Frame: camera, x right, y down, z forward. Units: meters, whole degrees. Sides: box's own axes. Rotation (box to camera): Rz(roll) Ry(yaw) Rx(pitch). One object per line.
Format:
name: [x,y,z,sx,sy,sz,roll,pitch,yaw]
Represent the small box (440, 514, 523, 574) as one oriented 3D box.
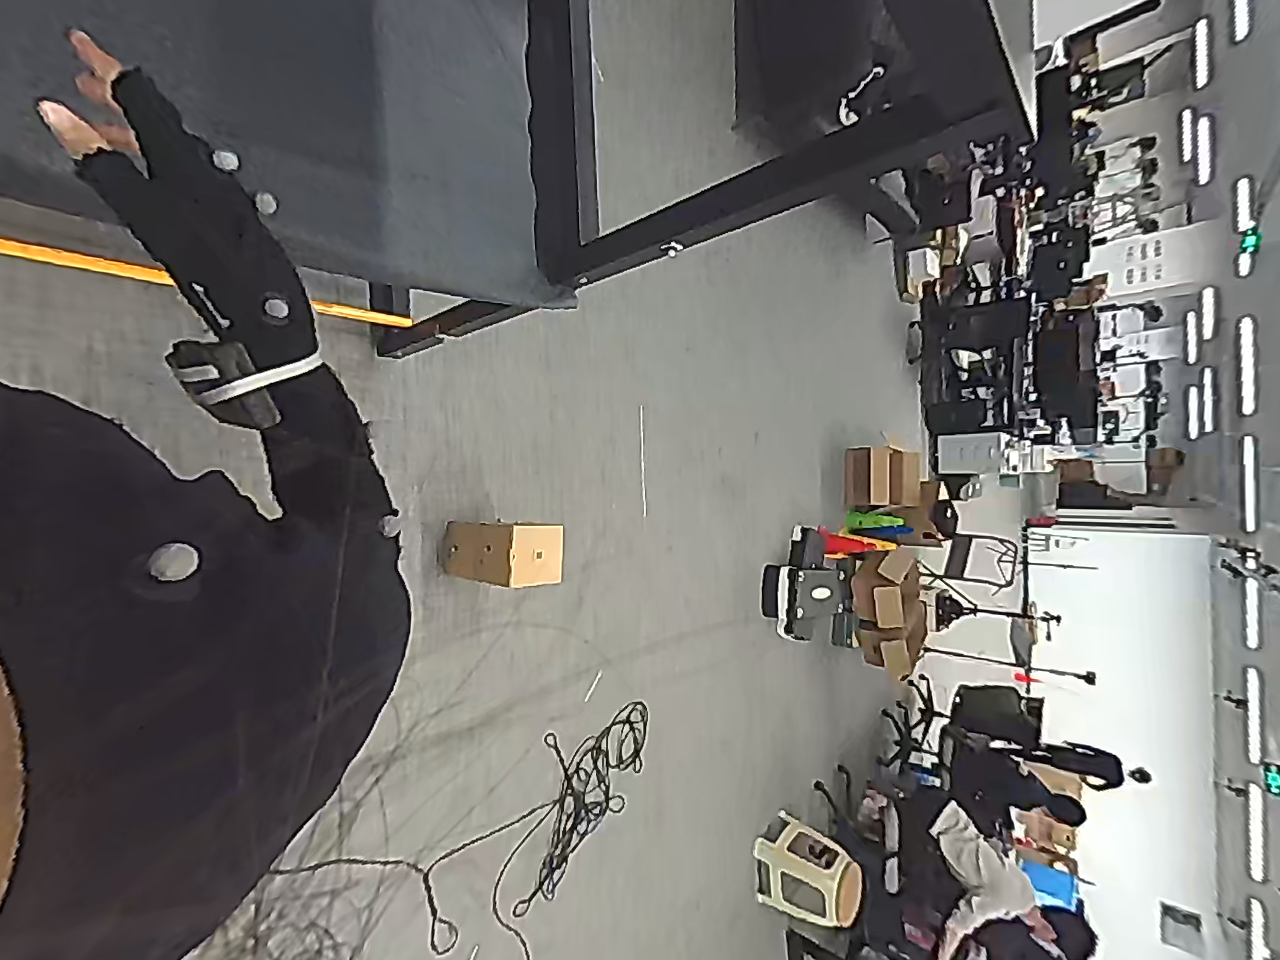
small box: [-0.481,0.190,1.642,0.179,0.176,0.168,7,85,-48]
